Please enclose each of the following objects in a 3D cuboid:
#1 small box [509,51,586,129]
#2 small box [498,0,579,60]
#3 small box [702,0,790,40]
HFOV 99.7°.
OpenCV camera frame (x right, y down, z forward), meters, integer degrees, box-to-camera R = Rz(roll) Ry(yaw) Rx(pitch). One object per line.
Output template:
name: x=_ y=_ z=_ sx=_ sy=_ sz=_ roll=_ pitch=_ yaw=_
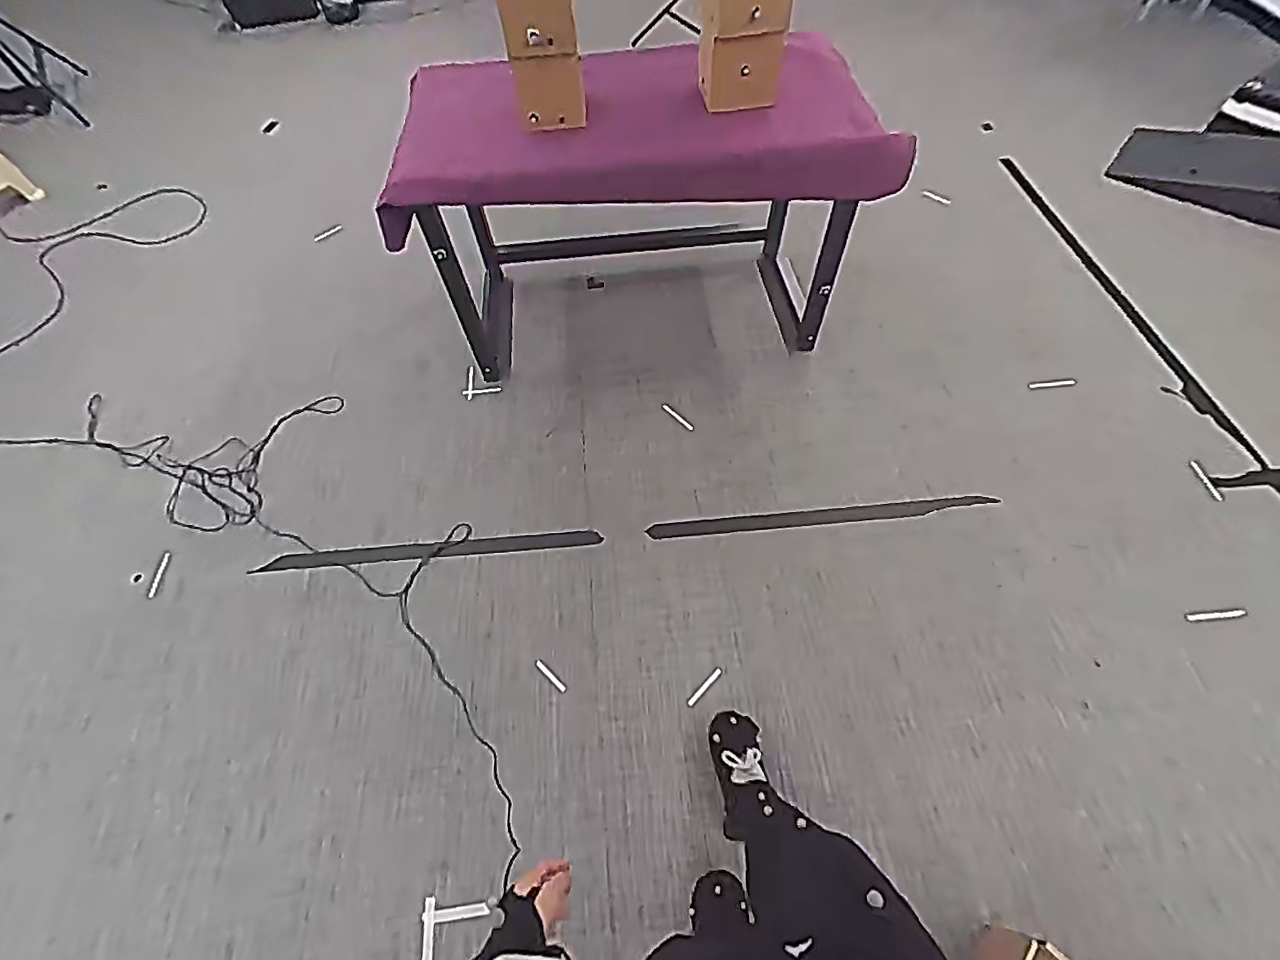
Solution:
small box: x=-0.230 y=-1.020 z=1.376 sx=0.168 sy=0.176 sz=0.179 roll=-6 pitch=58 yaw=-1
small box: x=-0.233 y=-1.095 z=1.231 sx=0.168 sy=0.176 sz=0.179 roll=-6 pitch=60 yaw=0
small box: x=0.248 y=-1.149 z=1.241 sx=0.179 sy=0.176 sz=0.168 roll=-10 pitch=58 yaw=-3
